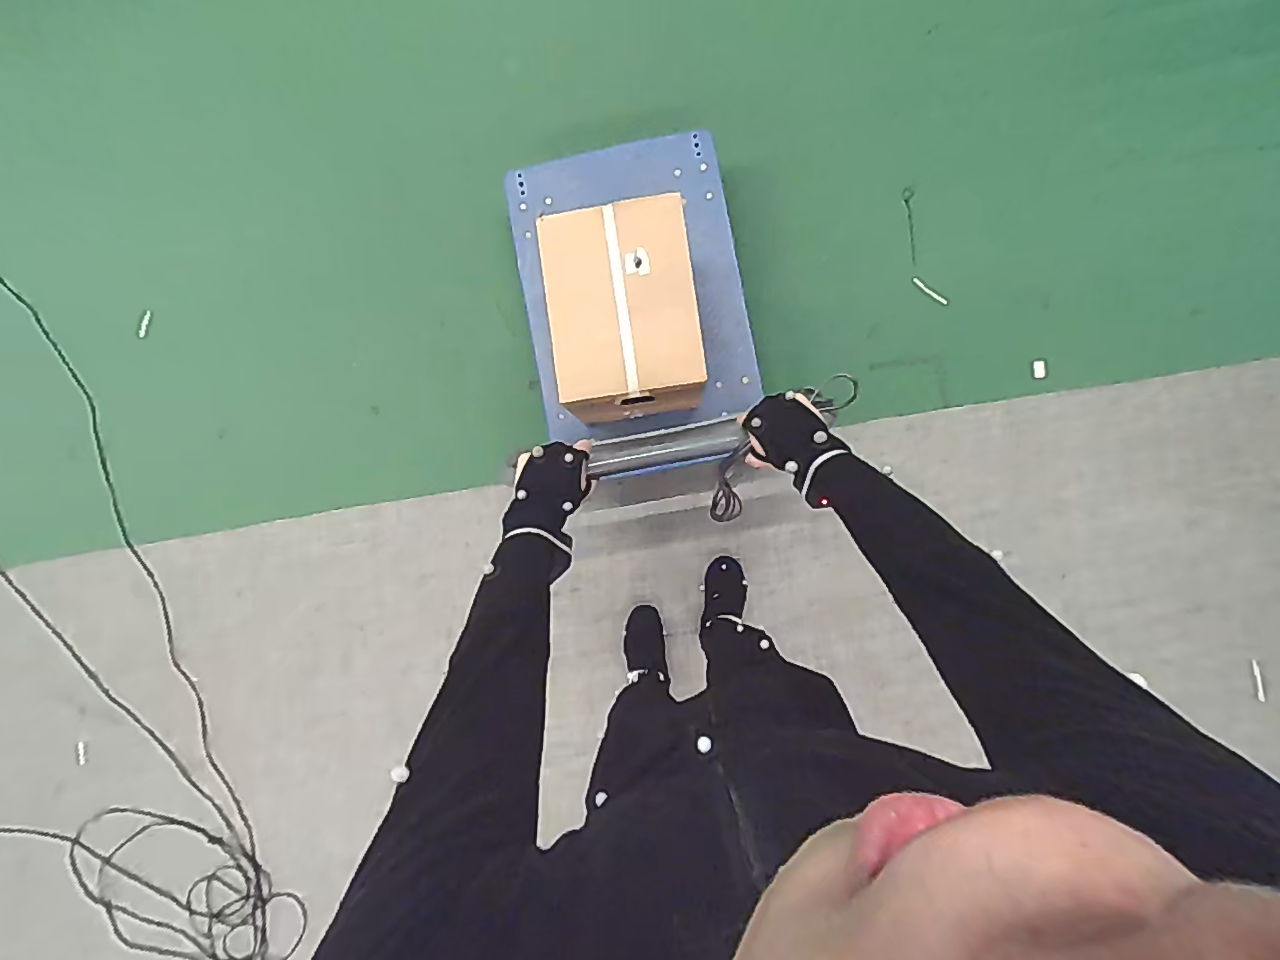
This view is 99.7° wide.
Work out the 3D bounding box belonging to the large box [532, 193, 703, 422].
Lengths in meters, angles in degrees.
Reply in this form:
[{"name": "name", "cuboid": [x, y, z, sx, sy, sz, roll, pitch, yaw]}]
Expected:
[{"name": "large box", "cuboid": [-0.040, -0.376, 1.276, 0.320, 0.320, 0.408, -8, 87, 3]}]
